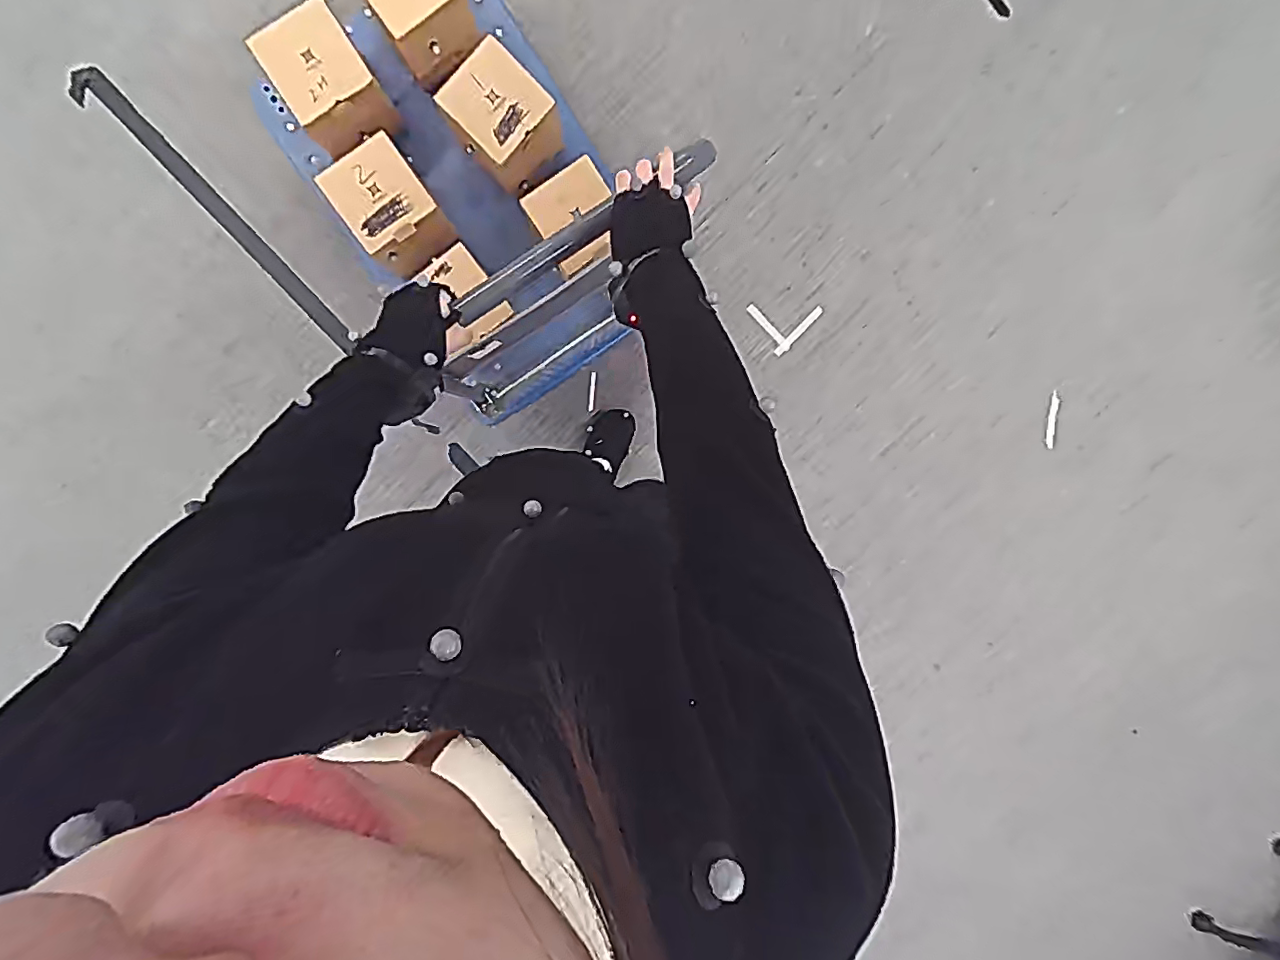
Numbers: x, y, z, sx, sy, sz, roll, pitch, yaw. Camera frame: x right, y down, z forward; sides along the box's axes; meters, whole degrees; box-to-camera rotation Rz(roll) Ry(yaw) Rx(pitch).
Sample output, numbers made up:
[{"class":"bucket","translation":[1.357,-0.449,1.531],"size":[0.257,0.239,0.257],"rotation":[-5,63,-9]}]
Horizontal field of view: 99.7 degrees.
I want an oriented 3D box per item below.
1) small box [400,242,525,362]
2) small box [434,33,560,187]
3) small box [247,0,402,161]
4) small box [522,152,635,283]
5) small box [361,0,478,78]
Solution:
[{"class":"small box","translation":[-0.368,-0.369,1.163],"size":[0.168,0.176,0.179],"rotation":[-38,99,1]},{"class":"small box","translation":[-0.284,-0.746,1.121],"size":[0.179,0.176,0.168],"rotation":[43,92,-6]},{"class":"small box","translation":[-0.621,-0.793,1.088],"size":[0.168,0.176,0.179],"rotation":[-33,99,0]},{"class":"small box","translation":[-0.126,-0.545,1.159],"size":[0.168,0.176,0.179],"rotation":[-34,98,0]},{"class":"small box","translation":[-0.452,-0.957,1.082],"size":[0.168,0.176,0.179],"rotation":[-38,98,1]}]
